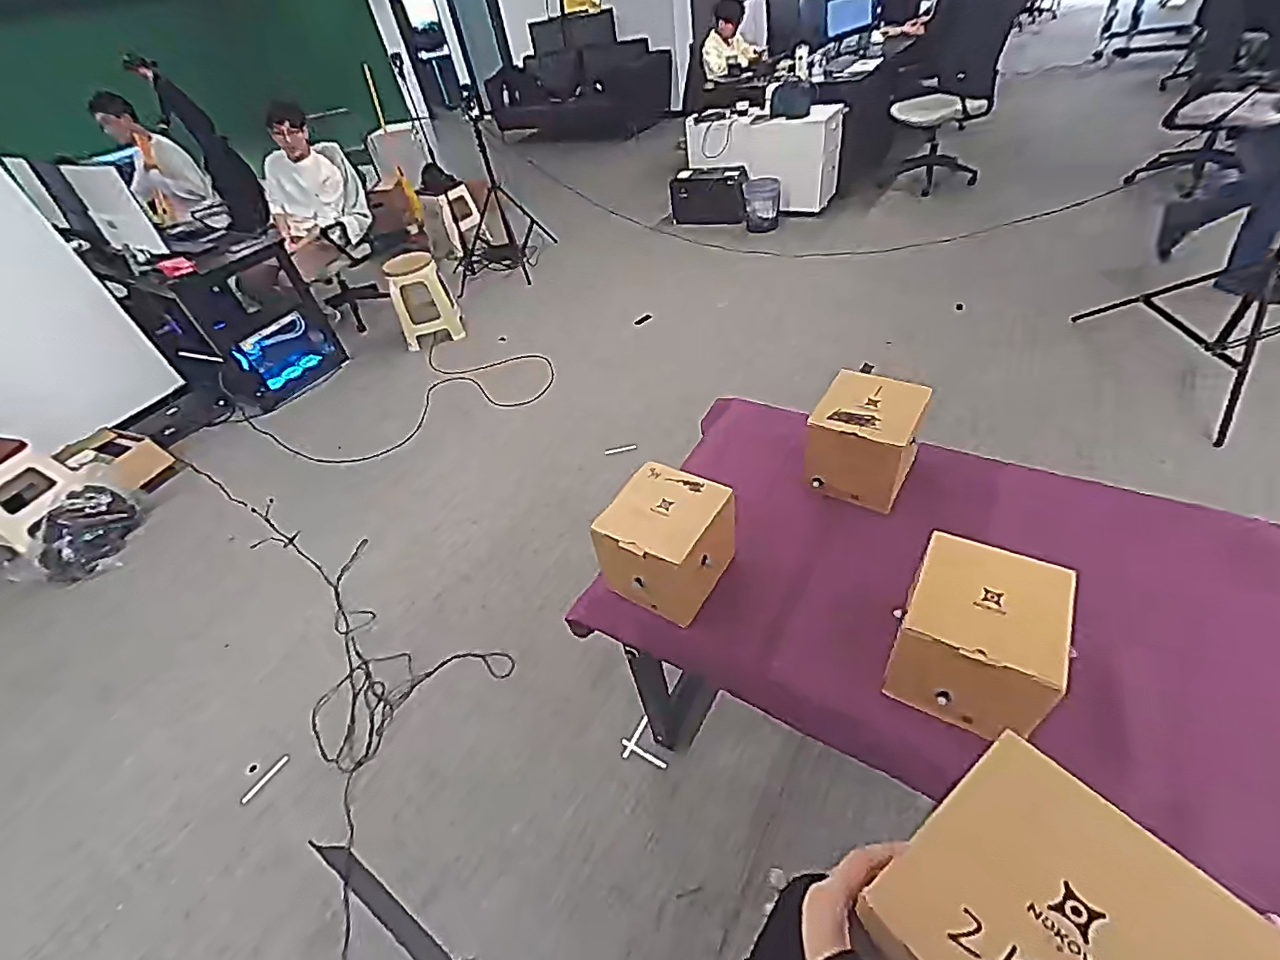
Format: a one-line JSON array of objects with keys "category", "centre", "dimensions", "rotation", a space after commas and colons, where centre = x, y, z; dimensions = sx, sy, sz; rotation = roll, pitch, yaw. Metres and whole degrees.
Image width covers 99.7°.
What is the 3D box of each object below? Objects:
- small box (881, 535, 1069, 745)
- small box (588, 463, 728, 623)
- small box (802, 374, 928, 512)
[{"category": "small box", "centre": [0.438, 0.211, 0.722], "dimensions": [0.168, 0.176, 0.179], "rotation": [18, 50, 27]}, {"category": "small box", "centre": [0.042, 0.107, 0.906], "dimensions": [0.168, 0.176, 0.179], "rotation": [21, 52, 28]}, {"category": "small box", "centre": [0.413, -0.069, 1.012], "dimensions": [0.168, 0.176, 0.179], "rotation": [21, 53, 29]}]
